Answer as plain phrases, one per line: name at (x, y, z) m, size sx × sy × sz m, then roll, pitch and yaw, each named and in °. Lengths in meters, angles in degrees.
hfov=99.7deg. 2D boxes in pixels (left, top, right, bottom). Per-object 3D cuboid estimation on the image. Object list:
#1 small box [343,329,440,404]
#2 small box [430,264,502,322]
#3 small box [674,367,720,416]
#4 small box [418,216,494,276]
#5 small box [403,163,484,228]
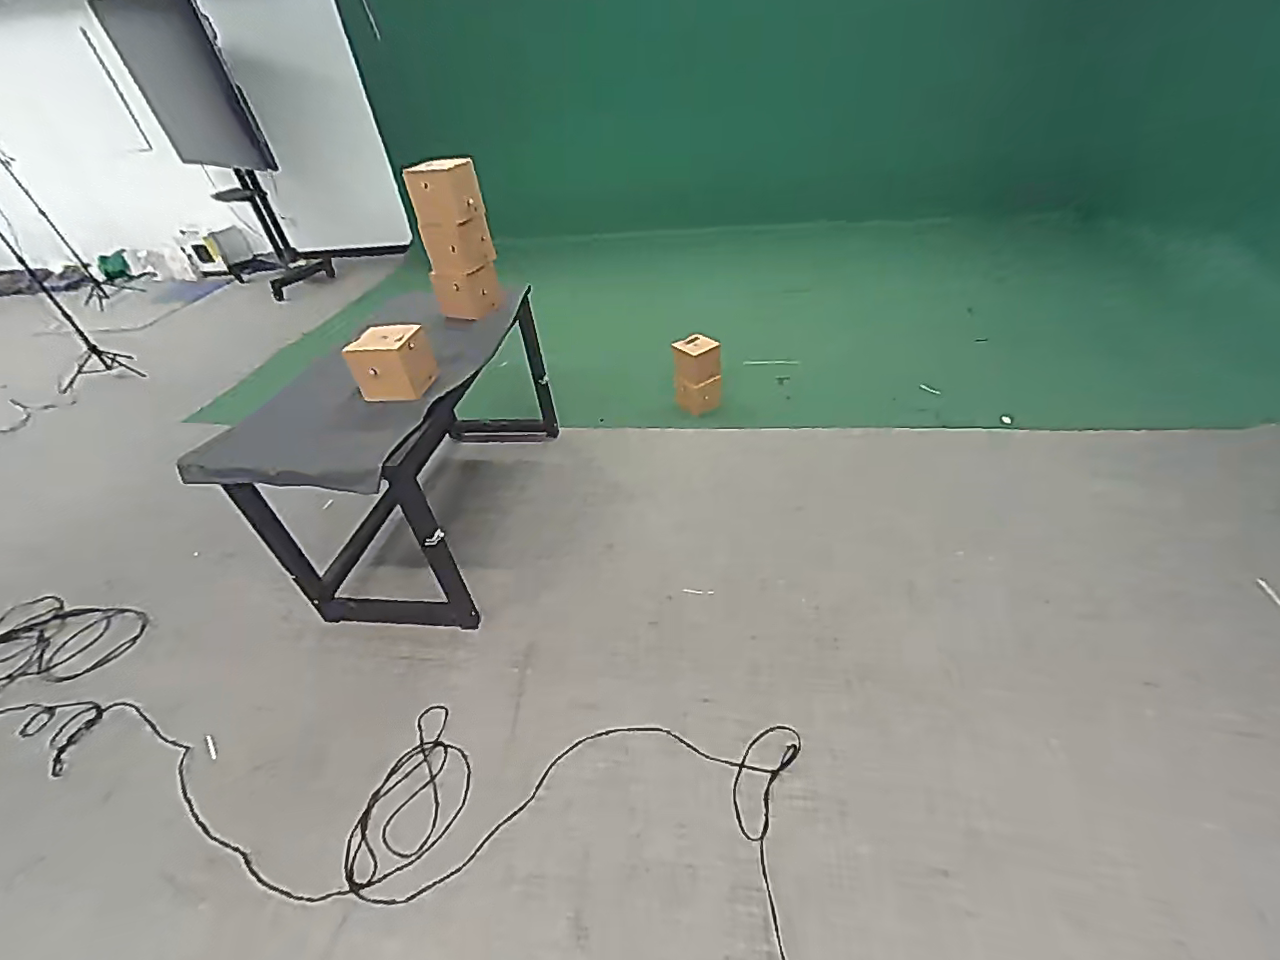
small box at (-0.738, -0.337, 1.624) m, size 0.179 × 0.176 × 0.168 m, roll -1°, pitch 40°, yaw 10°
small box at (-0.656, -0.715, 2.060) m, size 0.179 × 0.176 × 0.168 m, roll 13°, pitch 43°, yaw 26°
small box at (0.293, -0.446, 2.747) m, size 0.168 × 0.176 × 0.179 m, roll -29°, pitch 44°, yaw -24°
small box at (-0.662, -0.851, 1.970) m, size 0.179 × 0.176 × 0.168 m, roll 9°, pitch 41°, yaw 23°
small box at (-0.673, -0.982, 1.871) m, size 0.179 × 0.176 × 0.168 m, roll 6°, pitch 41°, yaw 17°
